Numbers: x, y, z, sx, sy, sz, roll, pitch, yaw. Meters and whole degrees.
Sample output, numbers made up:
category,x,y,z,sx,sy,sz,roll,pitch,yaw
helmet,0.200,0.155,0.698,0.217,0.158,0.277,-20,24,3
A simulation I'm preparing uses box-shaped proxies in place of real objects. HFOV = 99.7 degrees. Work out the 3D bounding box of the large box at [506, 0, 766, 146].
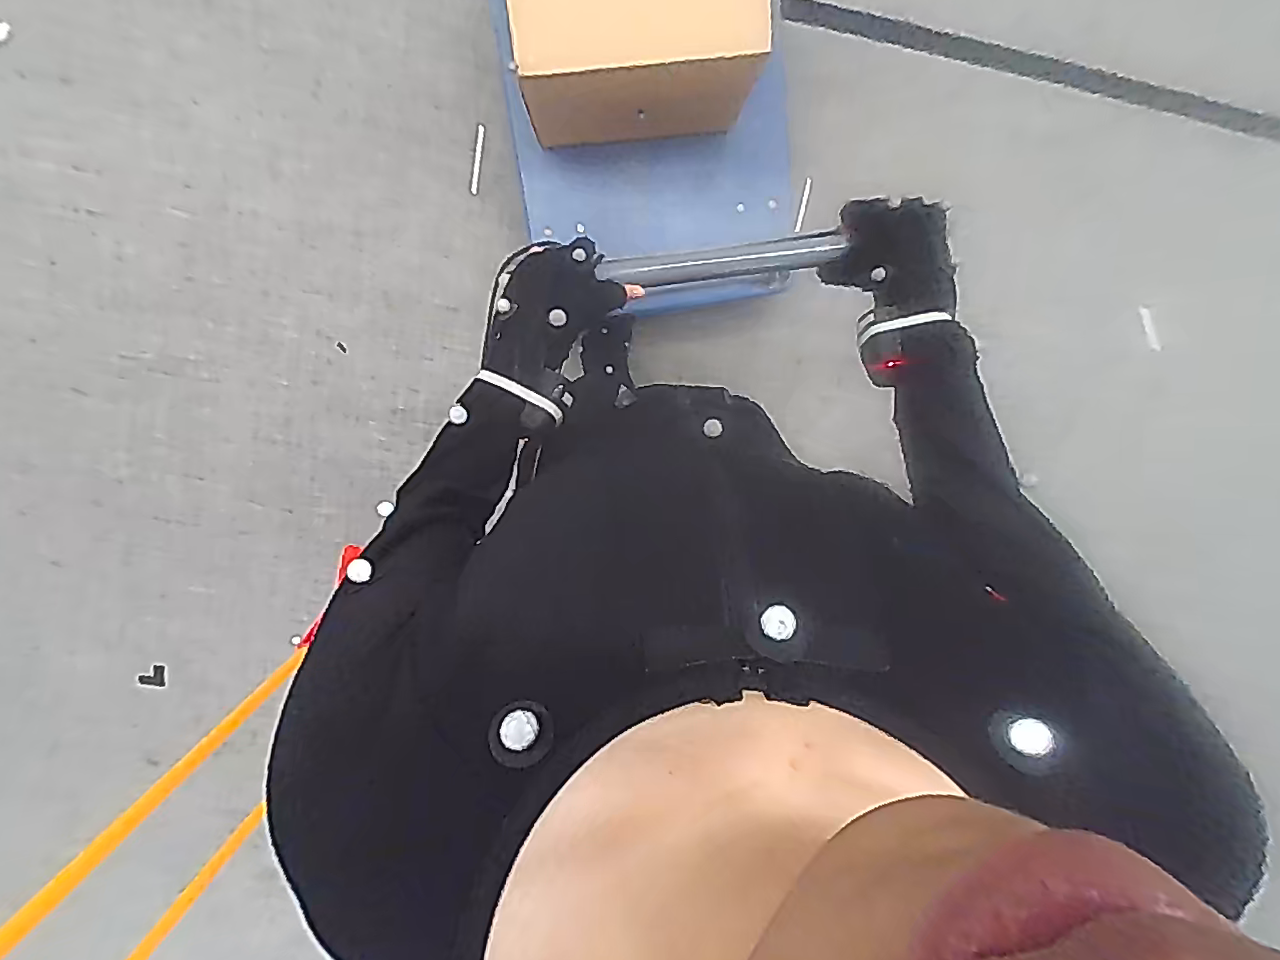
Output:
category,x,y,z,sx,sy,sz,roll,pitch,yaw
large box,-0.018,-0.834,0.962,0.408,0.320,0.320,-7,103,-1

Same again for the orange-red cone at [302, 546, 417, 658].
category,x,y,z,sx,sy,sz,roll,pitch,yaw
orange-red cone,-0.725,0.329,1.335,0.198,0.360,0.199,17,100,-8
